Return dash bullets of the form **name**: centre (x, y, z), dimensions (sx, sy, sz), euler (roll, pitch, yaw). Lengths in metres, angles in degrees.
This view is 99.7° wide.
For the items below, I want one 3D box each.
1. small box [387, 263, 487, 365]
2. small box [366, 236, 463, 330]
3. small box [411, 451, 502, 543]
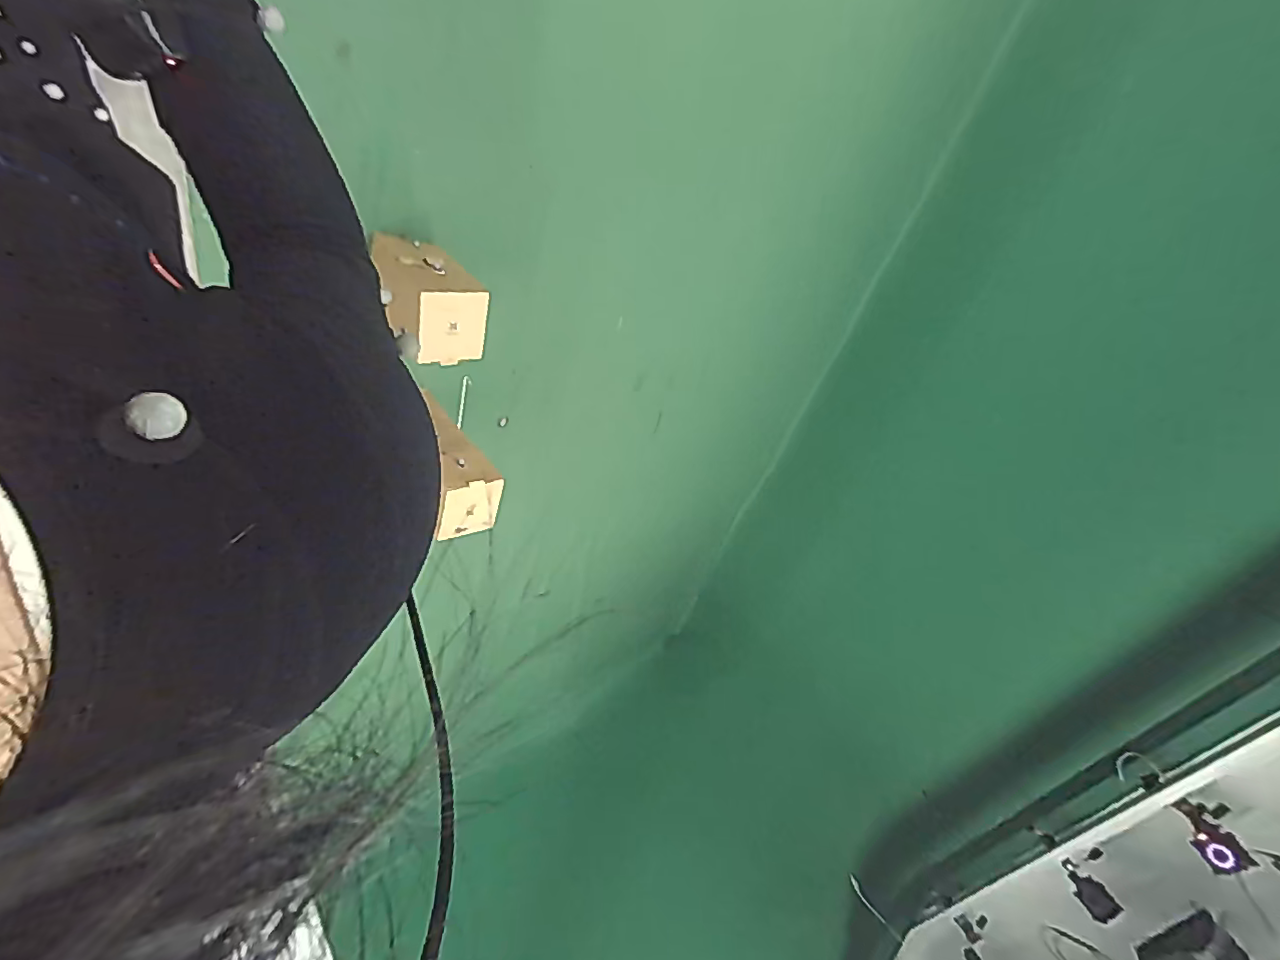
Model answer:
- **small box**: centre (-0.488, -0.396, 1.290), dimensions (0.168, 0.176, 0.179), euler (-17, 138, -41)
- **small box**: centre (-0.581, -0.493, 1.381), dimensions (0.168, 0.176, 0.179), euler (-9, 133, -46)
- **small box**: centre (-0.499, 0.036, 1.459), dimensions (0.168, 0.176, 0.179), euler (-13, 135, -44)
